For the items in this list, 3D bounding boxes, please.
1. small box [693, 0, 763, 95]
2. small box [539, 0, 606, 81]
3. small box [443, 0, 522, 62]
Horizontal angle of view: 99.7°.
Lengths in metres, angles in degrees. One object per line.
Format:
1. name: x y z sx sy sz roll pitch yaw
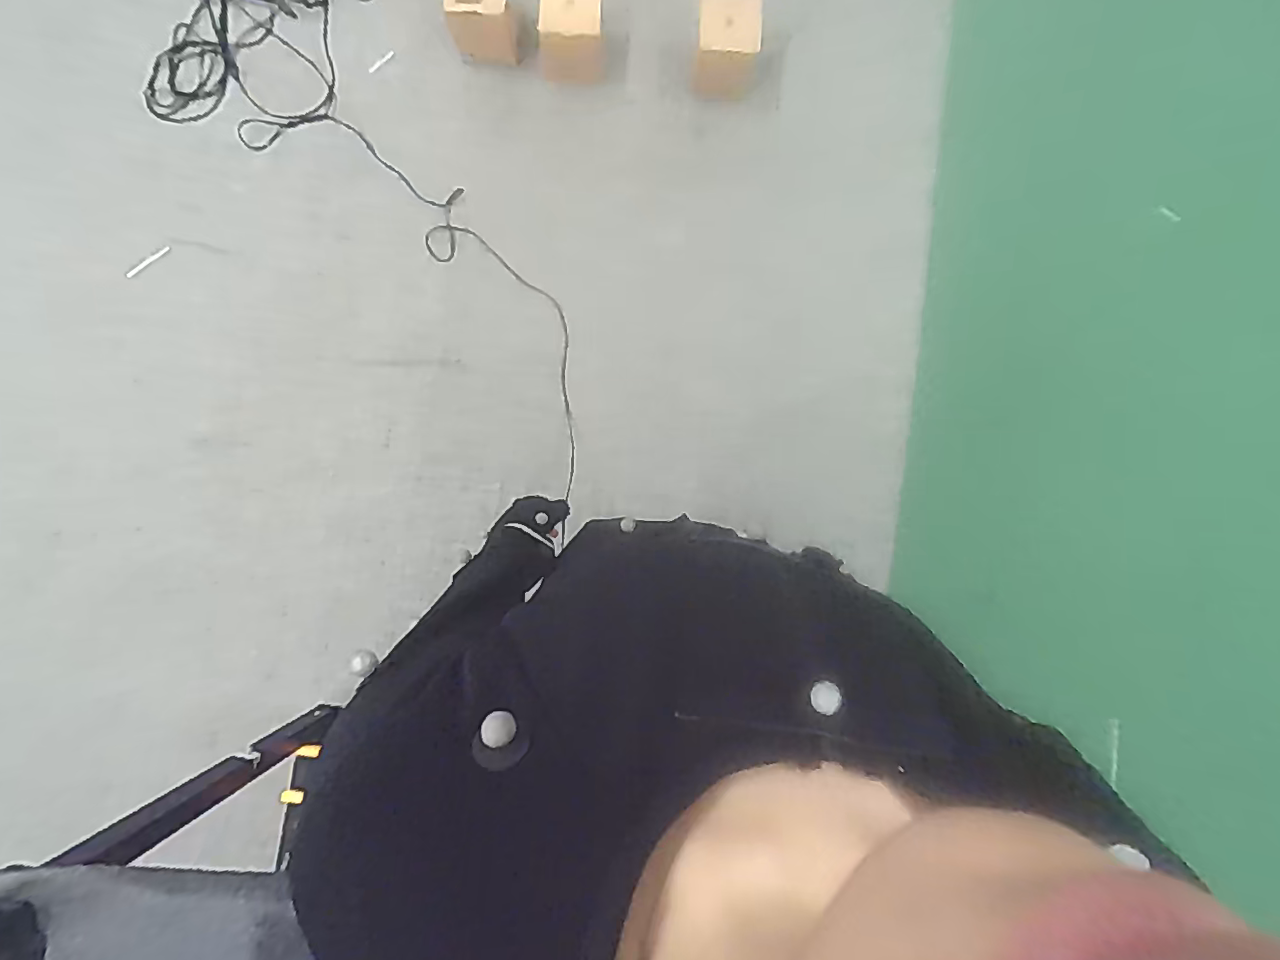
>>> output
1. small box: 0.241 -1.219 1.511 0.168 0.176 0.179 3 86 -2
2. small box: -0.183 -1.266 1.510 0.168 0.176 0.179 2 87 0
3. small box: -0.433 -1.319 1.510 0.168 0.176 0.179 5 85 0
